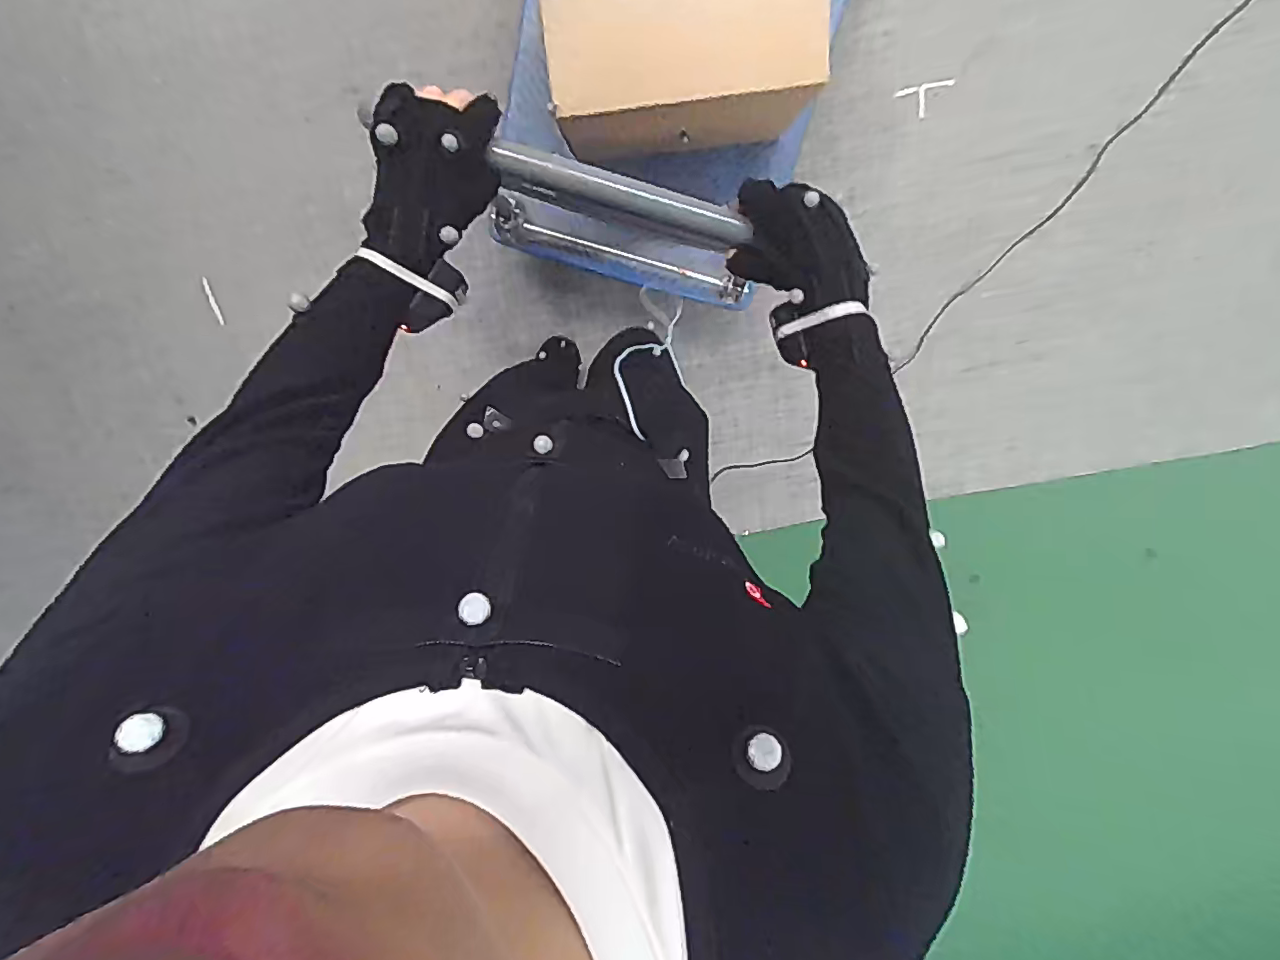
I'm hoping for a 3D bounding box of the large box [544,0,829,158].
[{"bbox_3d":[0.065,-0.761,0.889,0.408,0.320,0.320,-6,108,4],"label":"large box"}]
